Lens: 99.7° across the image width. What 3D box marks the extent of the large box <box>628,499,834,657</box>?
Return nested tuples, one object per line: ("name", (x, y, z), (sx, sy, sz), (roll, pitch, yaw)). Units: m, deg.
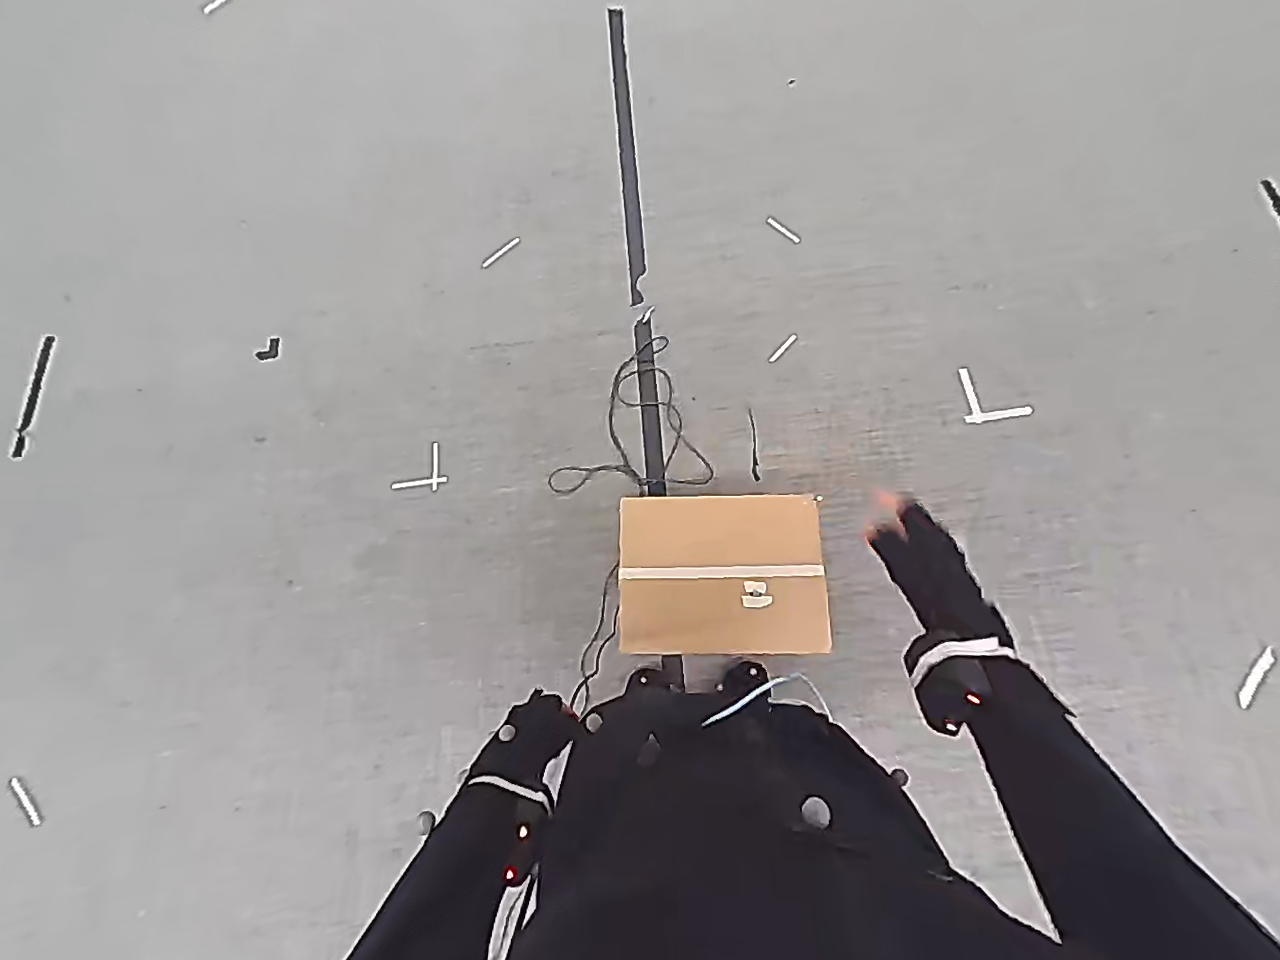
("large box", (0.181, 0.232, 1.227), (0.408, 0.320, 0.320), (-1, 75, 3))
